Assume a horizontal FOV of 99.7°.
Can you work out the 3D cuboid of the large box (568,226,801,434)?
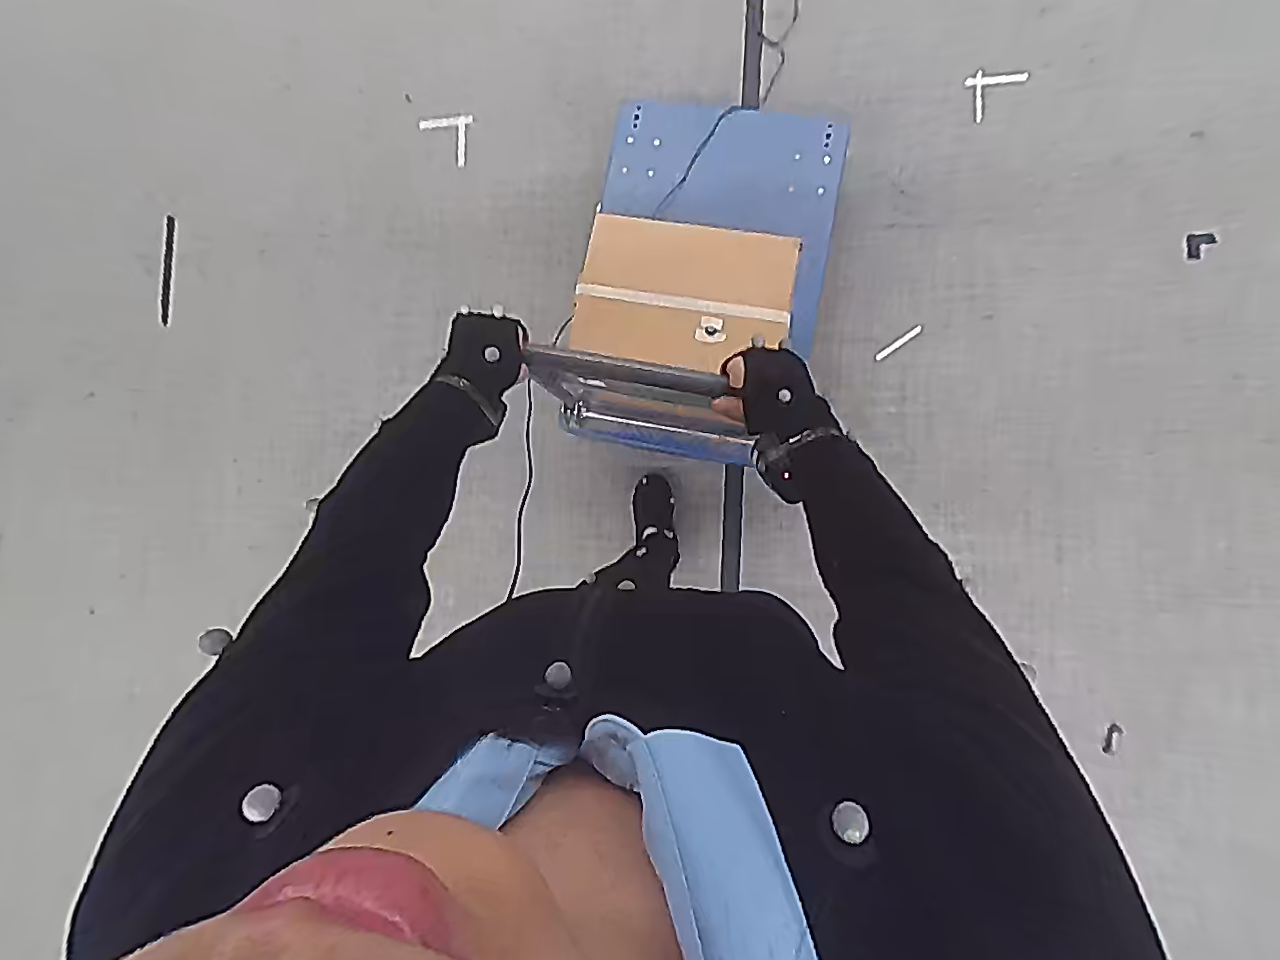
[{"bbox_3d":[0.095,-0.302,1.170,0.408,0.320,0.320,11,87,7],"label":"large box"}]
